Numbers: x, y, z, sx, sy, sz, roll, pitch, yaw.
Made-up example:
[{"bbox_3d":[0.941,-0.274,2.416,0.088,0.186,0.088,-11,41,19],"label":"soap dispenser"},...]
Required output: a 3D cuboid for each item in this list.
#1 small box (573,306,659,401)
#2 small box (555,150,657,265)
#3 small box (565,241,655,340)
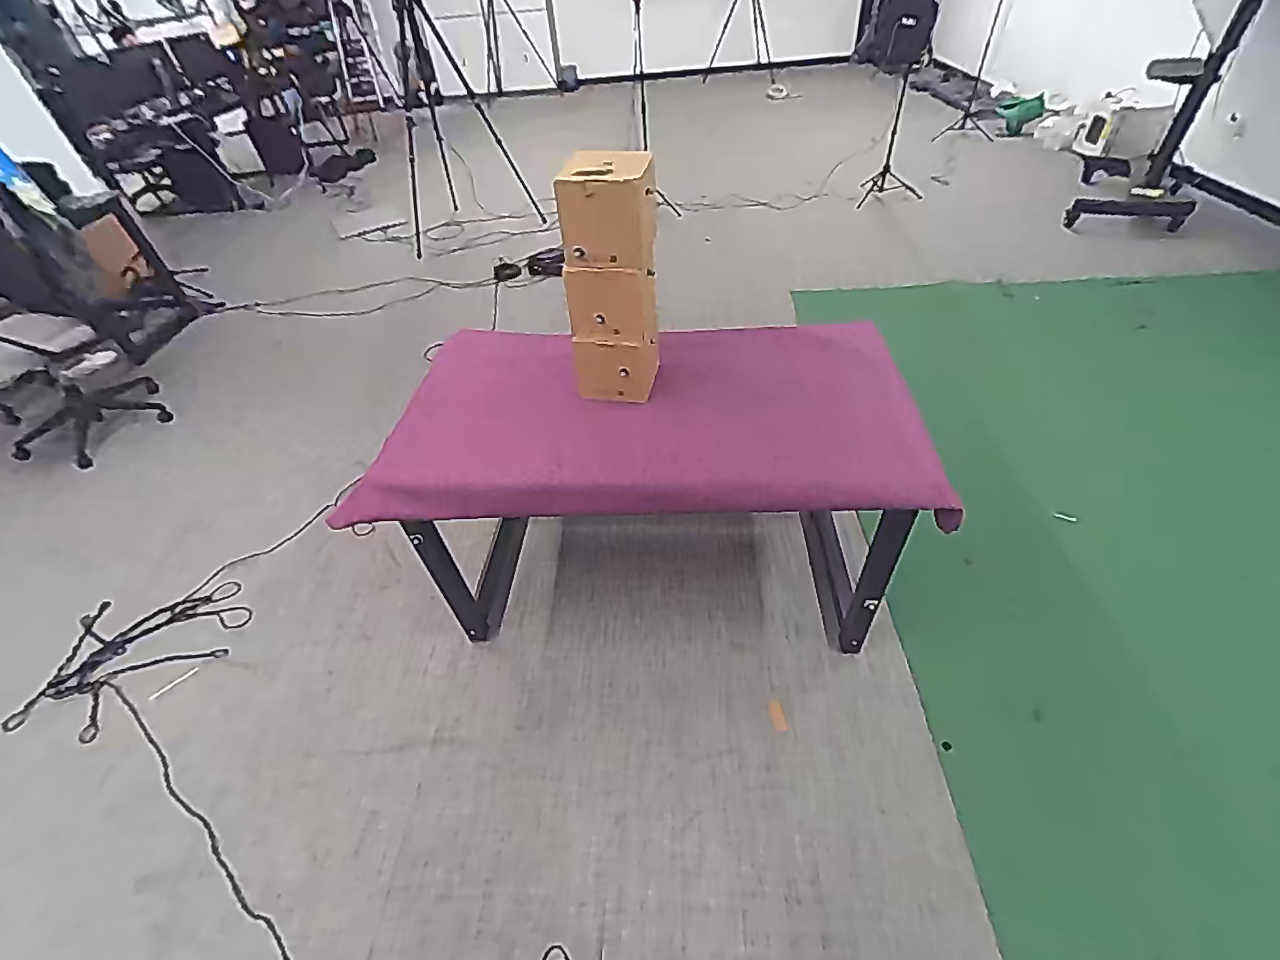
[{"bbox_3d":[-0.050,-0.311,1.319,0.168,0.176,0.179,7,46,12],"label":"small box"},{"bbox_3d":[-0.059,-0.552,1.099,0.168,0.176,0.179,6,46,9],"label":"small box"},{"bbox_3d":[-0.059,-0.432,1.212,0.168,0.176,0.179,5,47,9],"label":"small box"}]
